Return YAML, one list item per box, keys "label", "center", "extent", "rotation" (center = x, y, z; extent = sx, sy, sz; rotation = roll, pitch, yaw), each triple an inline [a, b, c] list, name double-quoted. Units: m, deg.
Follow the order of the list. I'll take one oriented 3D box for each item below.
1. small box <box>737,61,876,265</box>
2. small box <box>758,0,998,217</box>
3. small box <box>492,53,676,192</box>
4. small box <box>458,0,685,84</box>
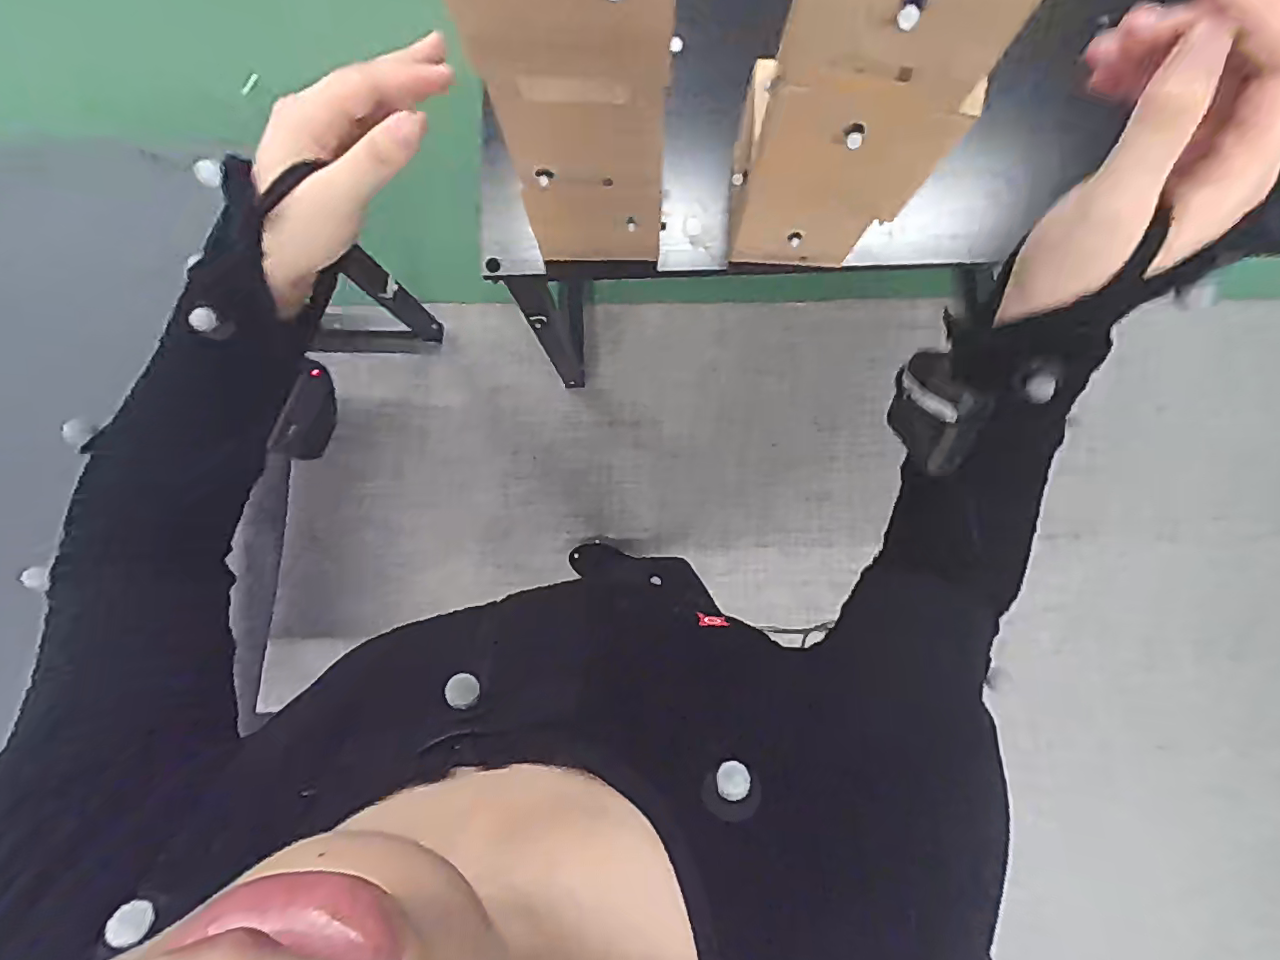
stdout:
- label: "small box"
  center: [0.226, -0.408, 0.722]
  extent: [0.168, 0.176, 0.179]
  rotation: [3, 85, 1]
- label: "small box"
  center: [0.236, -0.402, 0.558]
  extent: [0.179, 0.176, 0.168]
  rotation: [12, 86, 2]
- label: "small box"
  center: [-0.046, -0.430, 0.563]
  extent: [0.168, 0.176, 0.179]
  rotation: [2, 84, 0]
- label: "small box"
  center: [-0.047, -0.435, 0.400]
  extent: [0.179, 0.176, 0.168]
  rotation: [3, 83, 1]
